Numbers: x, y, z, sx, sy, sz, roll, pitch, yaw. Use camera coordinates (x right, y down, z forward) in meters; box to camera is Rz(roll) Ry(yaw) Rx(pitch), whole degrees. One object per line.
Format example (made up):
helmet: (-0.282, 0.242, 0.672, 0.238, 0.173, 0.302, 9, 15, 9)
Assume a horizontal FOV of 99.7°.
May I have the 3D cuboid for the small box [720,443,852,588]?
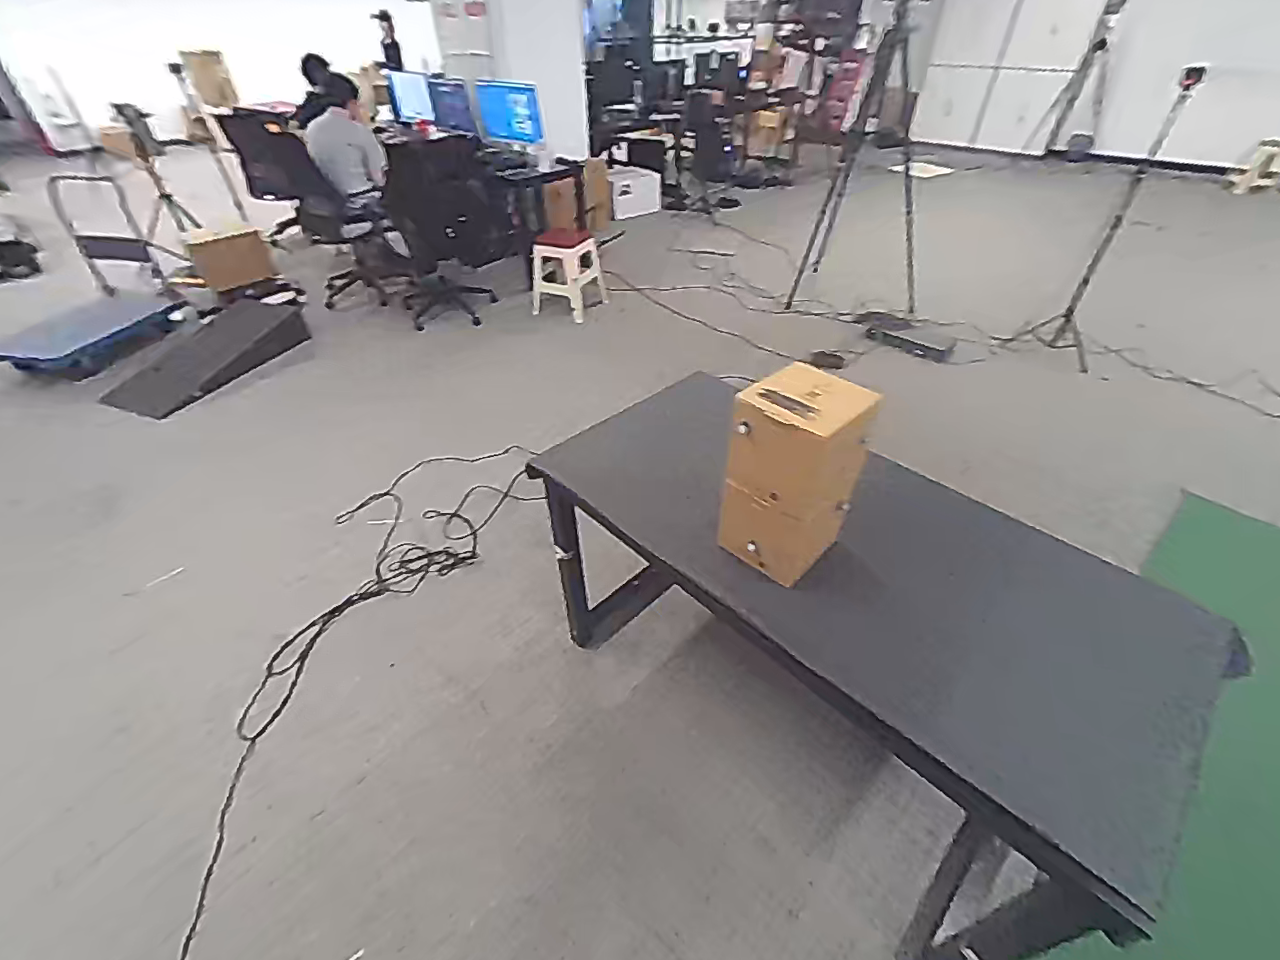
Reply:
small box: (0.265, 0.064, 1.016, 0.168, 0.176, 0.179, 32, 49, 33)
